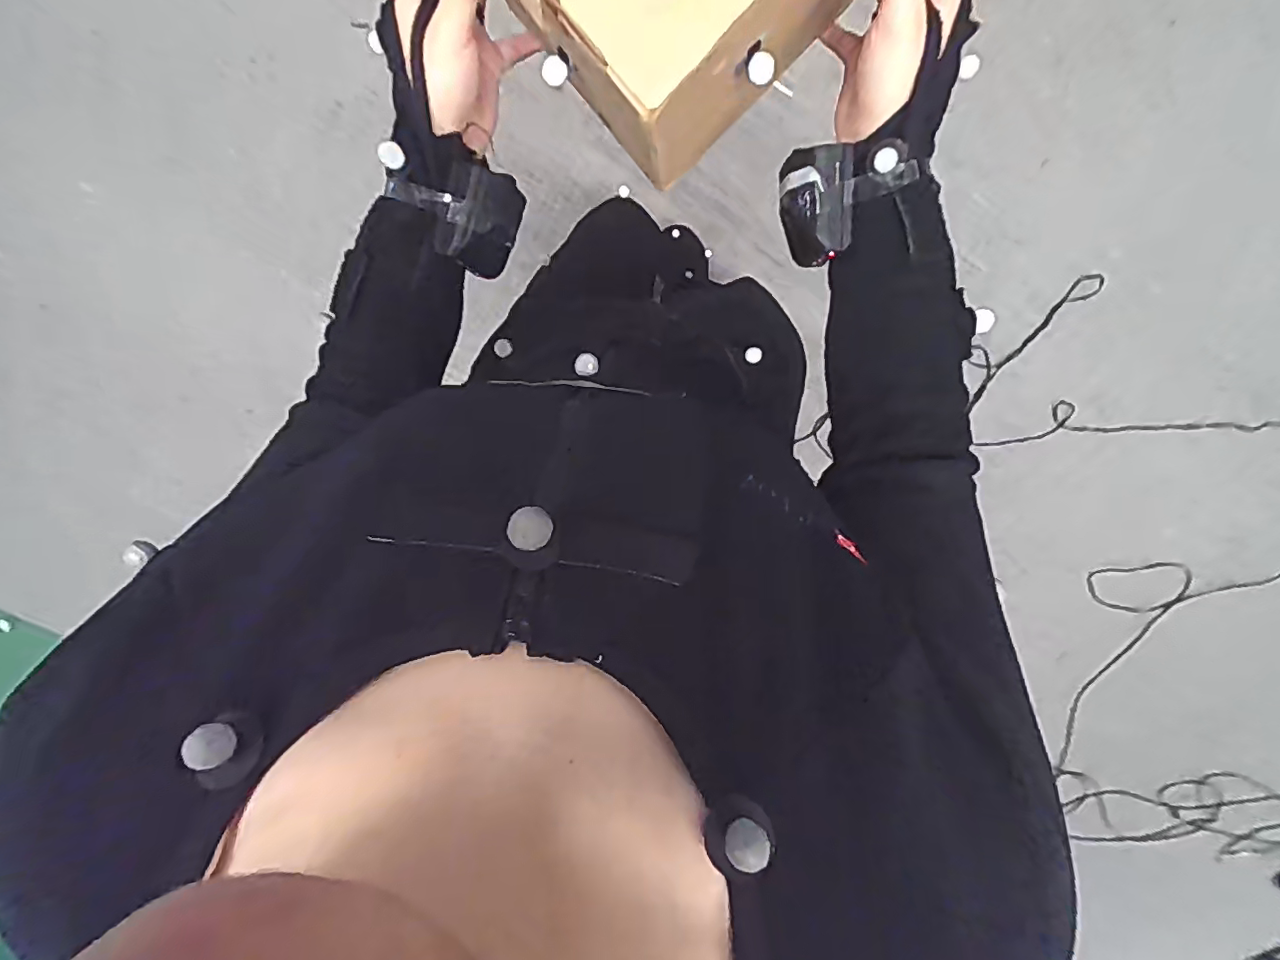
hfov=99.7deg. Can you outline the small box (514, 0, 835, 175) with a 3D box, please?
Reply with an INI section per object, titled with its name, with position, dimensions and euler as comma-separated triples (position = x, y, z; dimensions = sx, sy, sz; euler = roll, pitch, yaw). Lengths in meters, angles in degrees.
[small box]
position = 0.017, -0.310, 0.299
dimensions = 0.179, 0.176, 0.168
euler = -41, 100, 16
